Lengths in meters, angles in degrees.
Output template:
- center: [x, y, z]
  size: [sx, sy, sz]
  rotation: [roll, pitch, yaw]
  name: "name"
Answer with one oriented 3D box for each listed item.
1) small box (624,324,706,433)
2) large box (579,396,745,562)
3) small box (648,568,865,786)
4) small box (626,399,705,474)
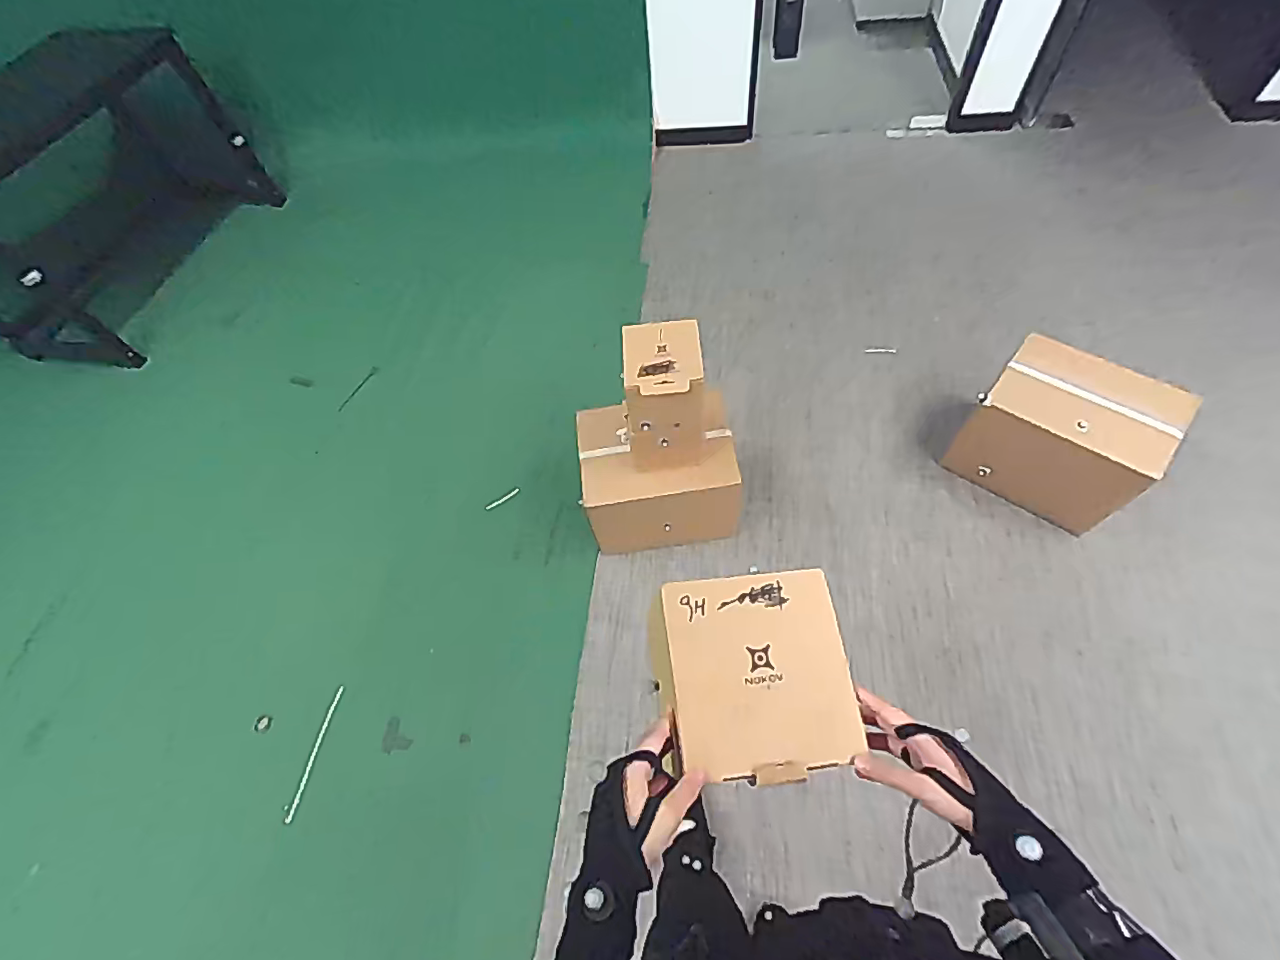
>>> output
- center: [0.058, -0.217, 1.205]
  size: [0.168, 0.176, 0.179]
  rotation: [-5, 59, 4]
  name: "small box"
- center: [0.064, 0.007, 1.549]
  size: [0.408, 0.320, 0.320]
  rotation: [-10, 56, 2]
  name: "large box"
- center: [0.103, 0.201, 0.565]
  size: [0.168, 0.176, 0.179]
  rotation: [-4, 68, -6]
  name: "small box"
- center: [0.065, -0.127, 1.342]
  size: [0.179, 0.176, 0.168]
  rotation: [-6, 59, 3]
  name: "small box"
